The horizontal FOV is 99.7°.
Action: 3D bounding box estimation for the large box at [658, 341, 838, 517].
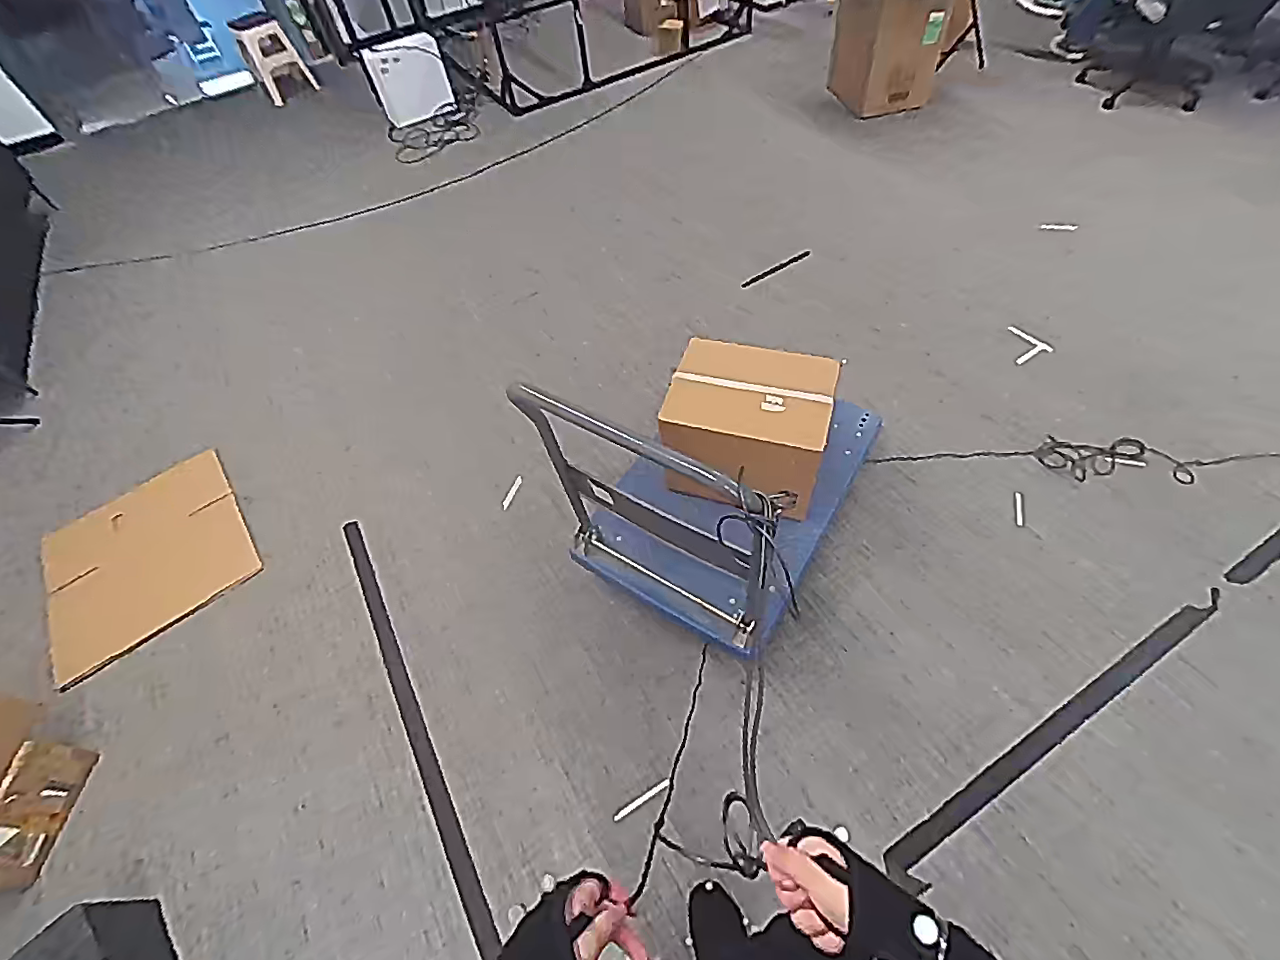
[{"bbox_3d":[0.288,-0.138,1.479,0.408,0.320,0.320,13,58,15],"label":"large box"}]
